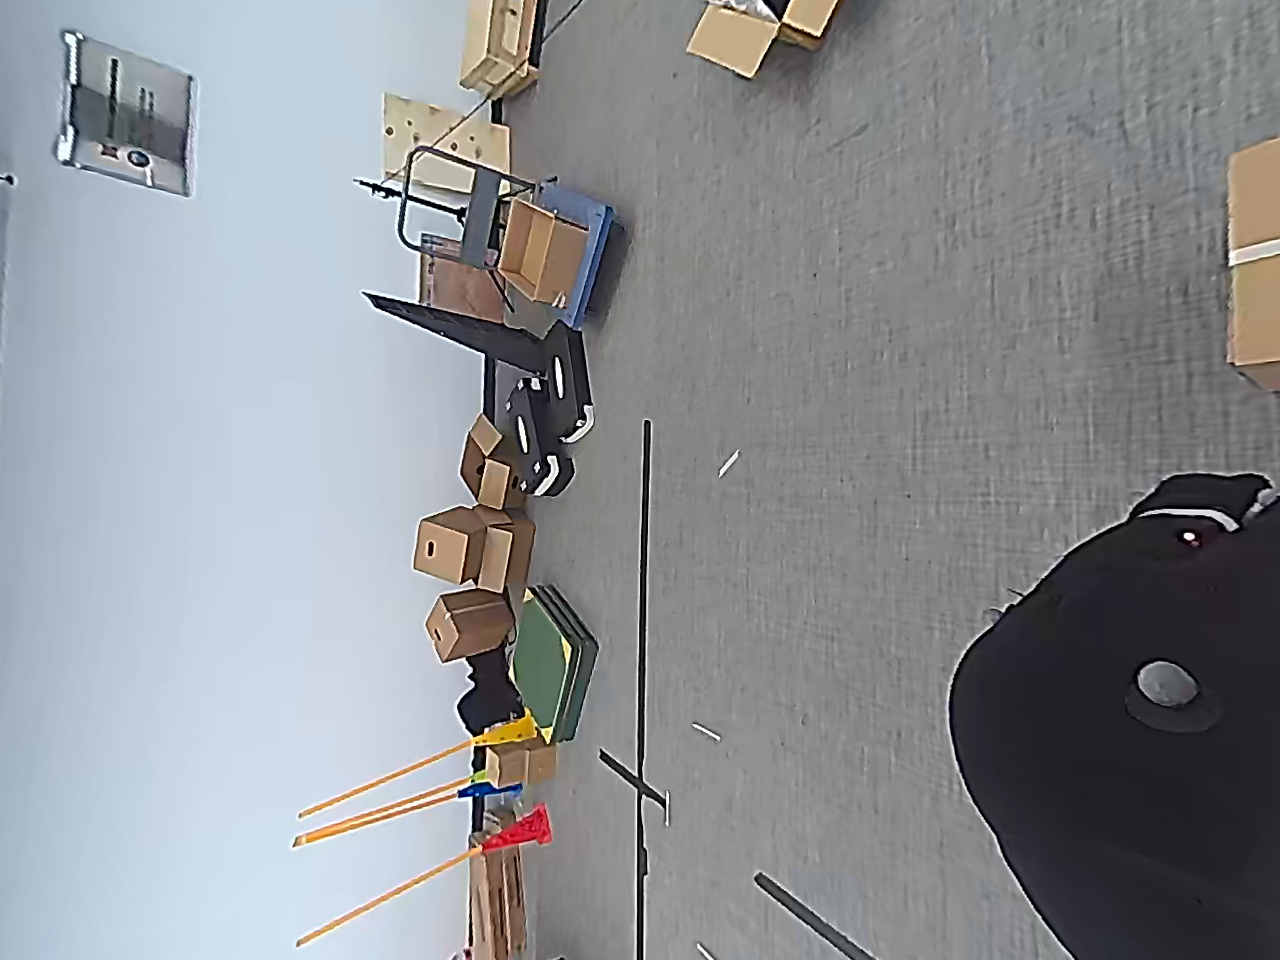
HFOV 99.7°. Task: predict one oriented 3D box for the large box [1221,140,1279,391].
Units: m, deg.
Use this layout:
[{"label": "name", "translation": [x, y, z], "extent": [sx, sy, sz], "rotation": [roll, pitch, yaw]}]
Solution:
[{"label": "large box", "translation": [1.087, -0.318, 0.713], "extent": [0.408, 0.320, 0.320], "rotation": [-2, 88, 55]}]
